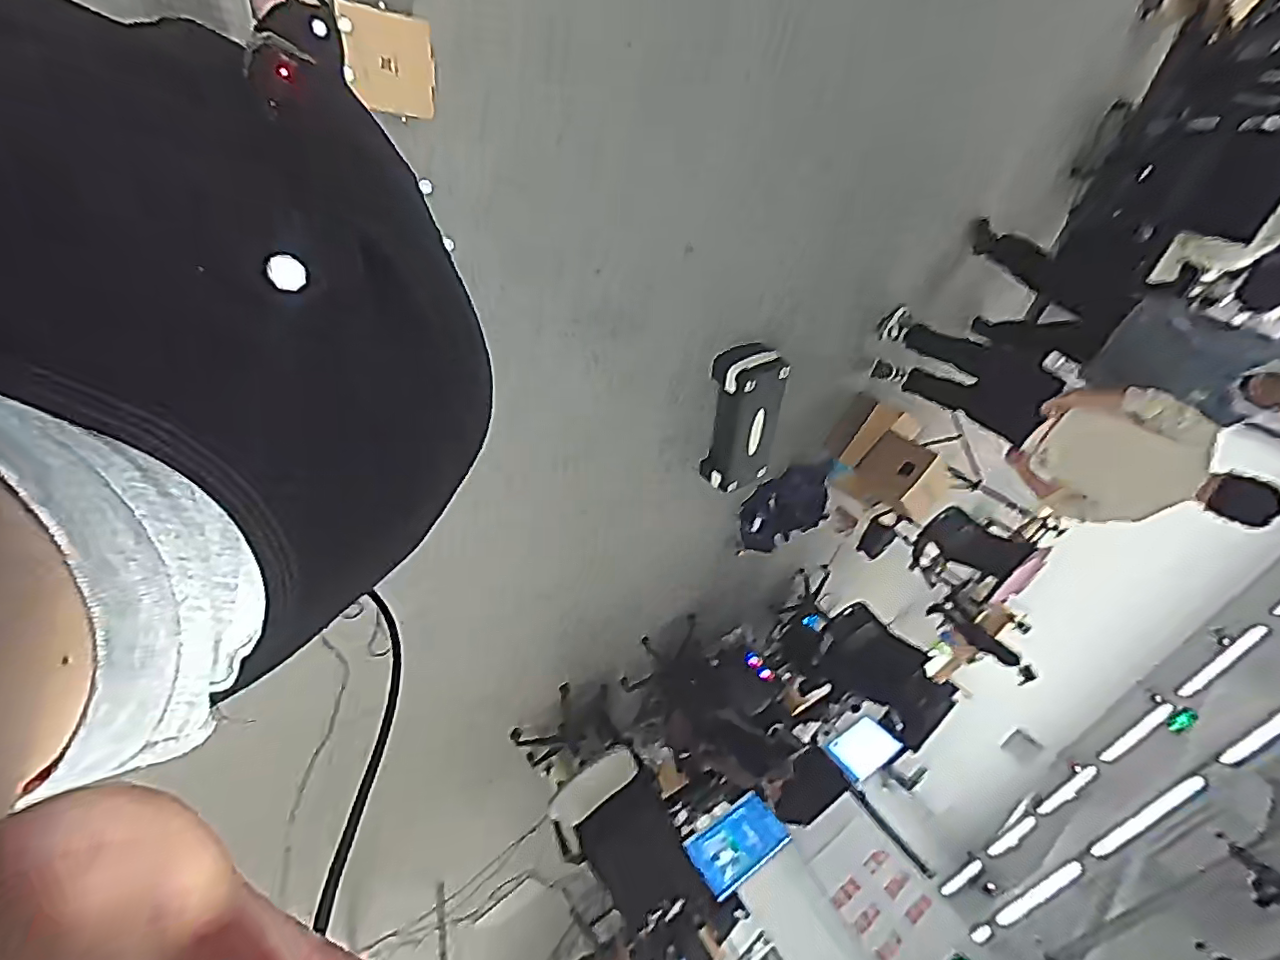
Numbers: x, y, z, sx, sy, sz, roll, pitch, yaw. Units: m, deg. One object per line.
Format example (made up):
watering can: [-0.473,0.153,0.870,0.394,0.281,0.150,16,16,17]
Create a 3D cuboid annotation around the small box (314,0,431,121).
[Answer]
small box: [-0.548,-0.859,1.113,0.179,0.176,0.168,-14,130,-33]
